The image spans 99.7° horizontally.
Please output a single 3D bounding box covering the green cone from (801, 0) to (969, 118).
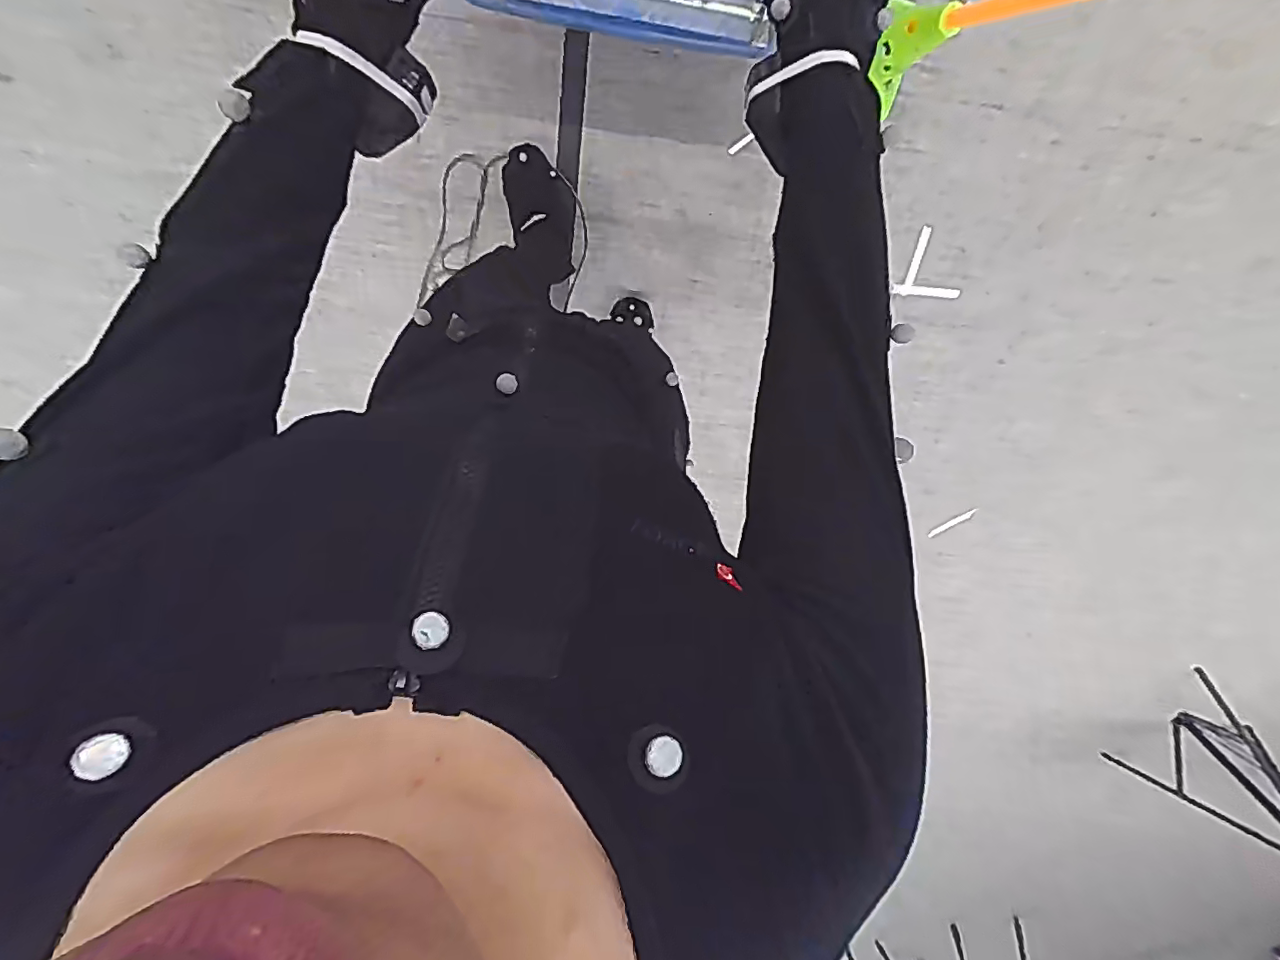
[{"bbox_3d":[0.458,-0.785,0.960,0.202,0.368,0.200,8,121,-9],"label":"green cone"}]
